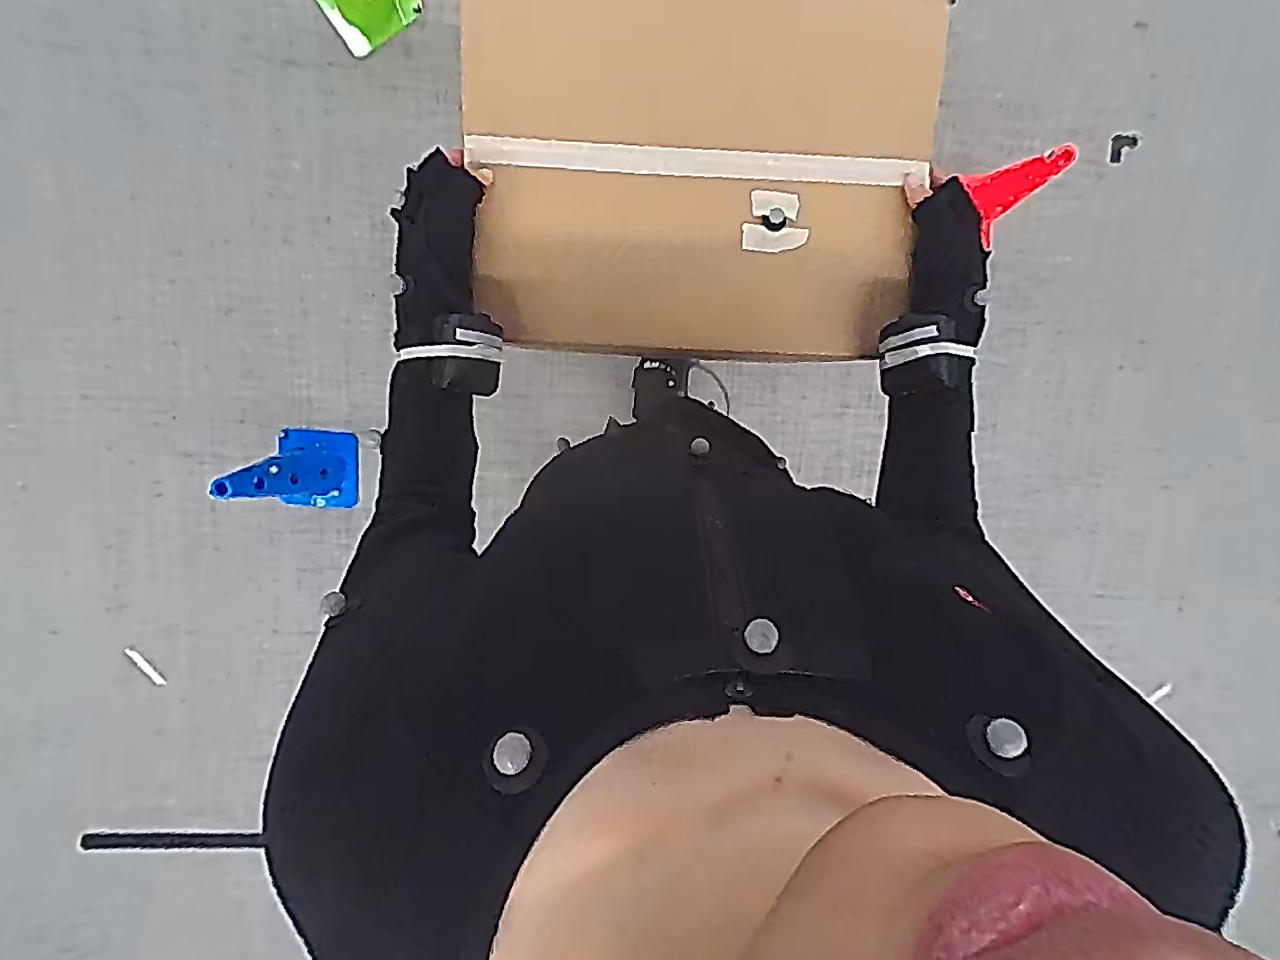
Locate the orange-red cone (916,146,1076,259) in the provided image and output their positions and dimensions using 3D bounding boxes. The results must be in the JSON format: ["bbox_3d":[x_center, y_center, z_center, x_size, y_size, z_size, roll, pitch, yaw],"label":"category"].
[{"bbox_3d":[0.825,-0.661,1.235,0.198,0.360,0.199,-1,96,-4],"label":"orange-red cone"}]

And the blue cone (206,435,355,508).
[{"bbox_3d":[-0.837,0.000,1.253,0.192,0.380,0.193,5,97,-3],"label":"blue cone"}]

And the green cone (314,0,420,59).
[{"bbox_3d":[-0.640,-1.103,1.096,0.202,0.368,0.200,-35,97,4],"label":"green cone"}]

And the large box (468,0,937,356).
[{"bbox_3d":[0.044,-0.310,0.623,0.408,0.320,0.320,2,101,-4],"label":"large box"}]
